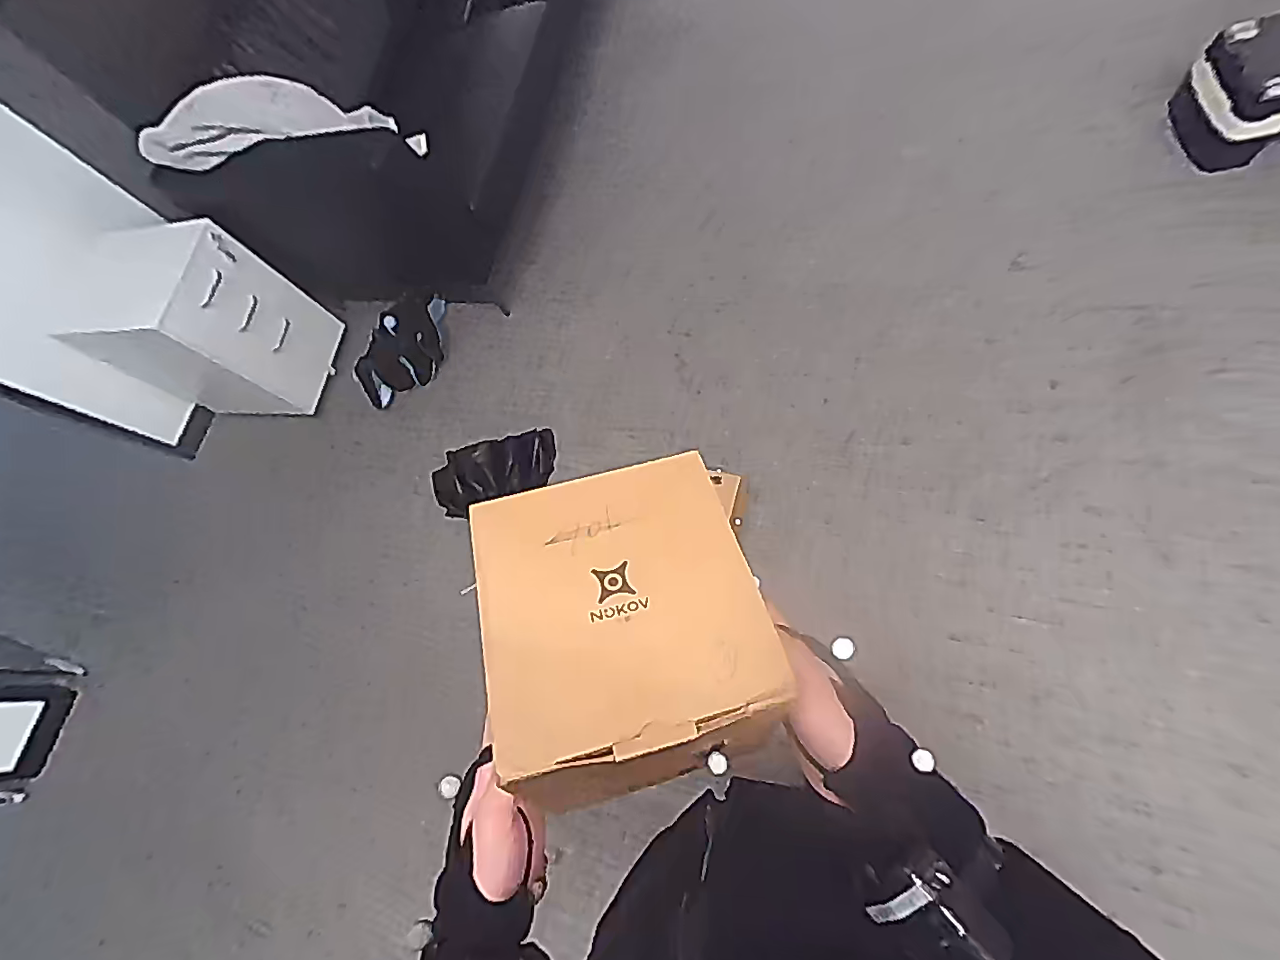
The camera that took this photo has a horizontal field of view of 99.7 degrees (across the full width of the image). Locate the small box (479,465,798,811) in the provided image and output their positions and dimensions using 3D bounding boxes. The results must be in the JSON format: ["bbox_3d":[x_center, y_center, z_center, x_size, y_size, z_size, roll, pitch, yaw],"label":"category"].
[{"bbox_3d":[-0.007,0.121,0.395,0.168,0.176,0.179,-13,52,-7],"label":"small box"}]
